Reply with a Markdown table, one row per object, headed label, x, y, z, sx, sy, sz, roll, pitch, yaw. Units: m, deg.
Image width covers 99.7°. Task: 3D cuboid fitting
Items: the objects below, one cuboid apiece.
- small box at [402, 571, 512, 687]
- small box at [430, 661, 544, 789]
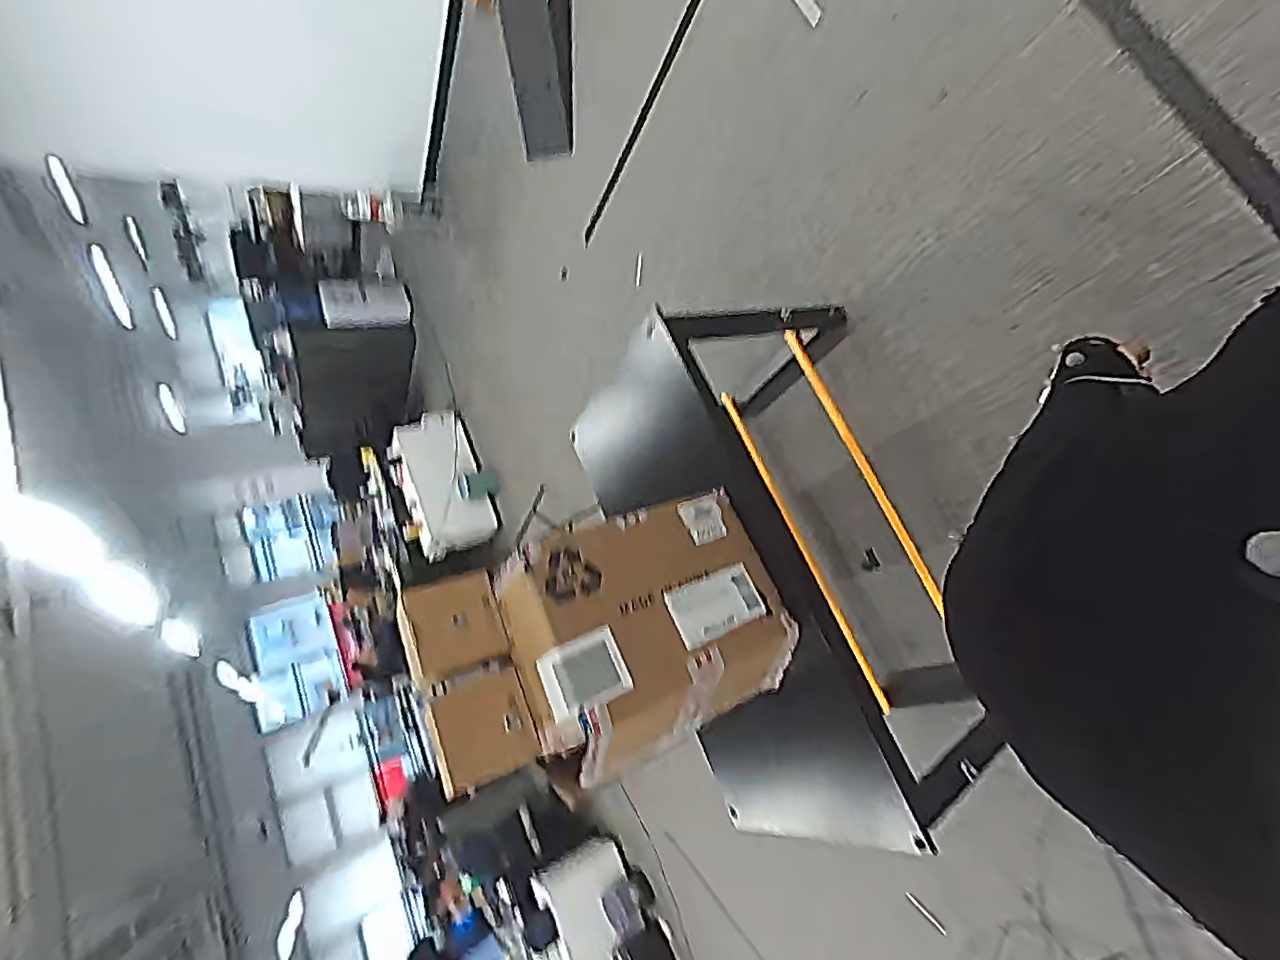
| label | x | y | z | sx | sy | sz | roll | pitch | yaw |
| --- | --- | --- | --- | --- | --- | --- | --- | --- | --- |
| small box | -0.378 | 0.304 | 1.116 | 0.179 | 0.176 | 0.168 | -49 | 59 | 52 |
| small box | -0.303 | 0.483 | 1.067 | 0.168 | 0.176 | 0.179 | 62 | 147 | 21 |
